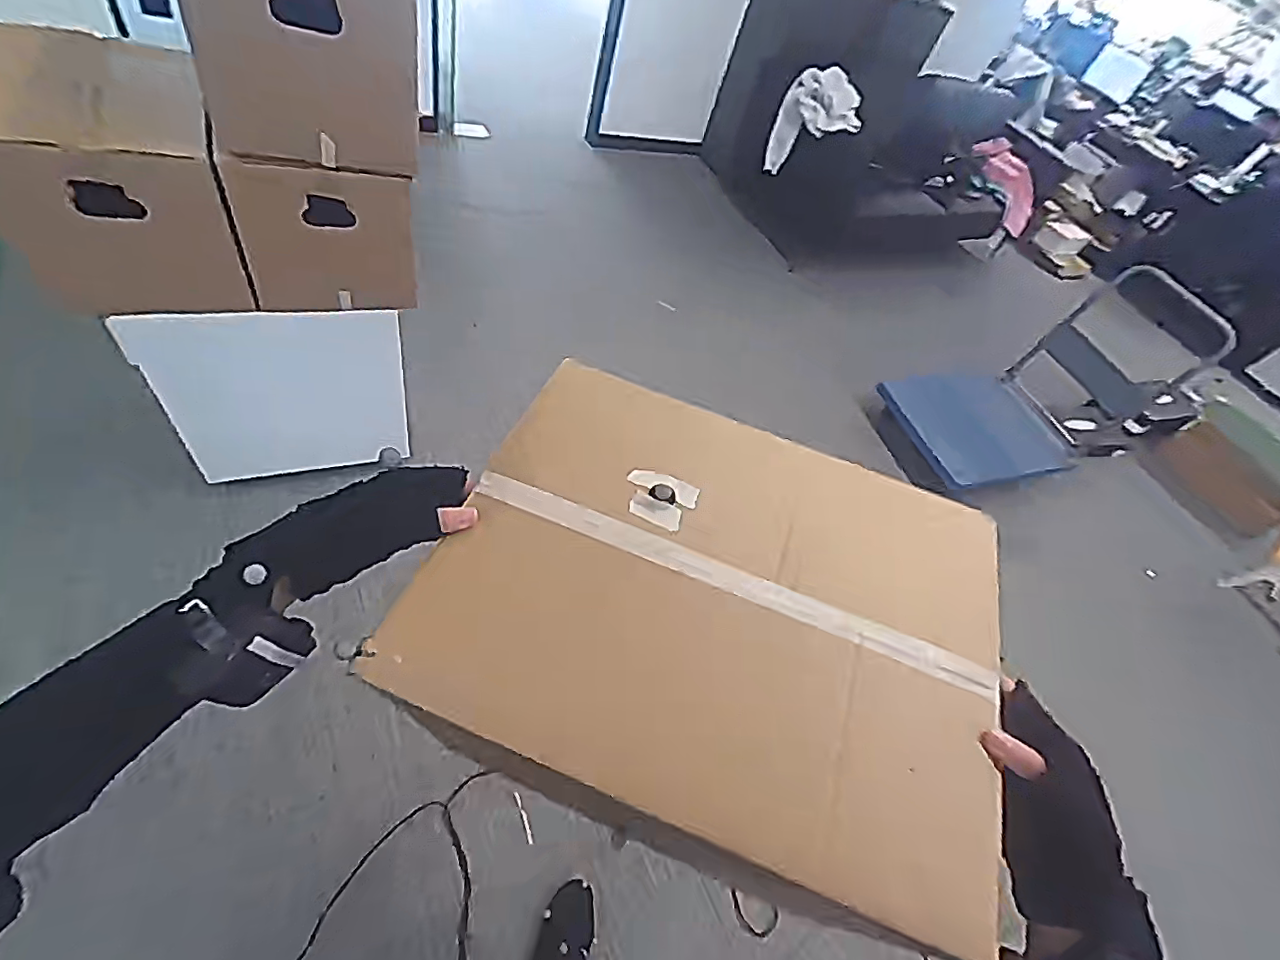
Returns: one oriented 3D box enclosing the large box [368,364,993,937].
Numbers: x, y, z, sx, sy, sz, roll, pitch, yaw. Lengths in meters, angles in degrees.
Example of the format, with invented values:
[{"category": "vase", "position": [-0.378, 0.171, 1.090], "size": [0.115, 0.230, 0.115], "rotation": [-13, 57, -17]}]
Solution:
[{"category": "large box", "position": [0.049, 0.153, 0.528], "size": [0.408, 0.320, 0.320], "rotation": [21, 57, 8]}]
